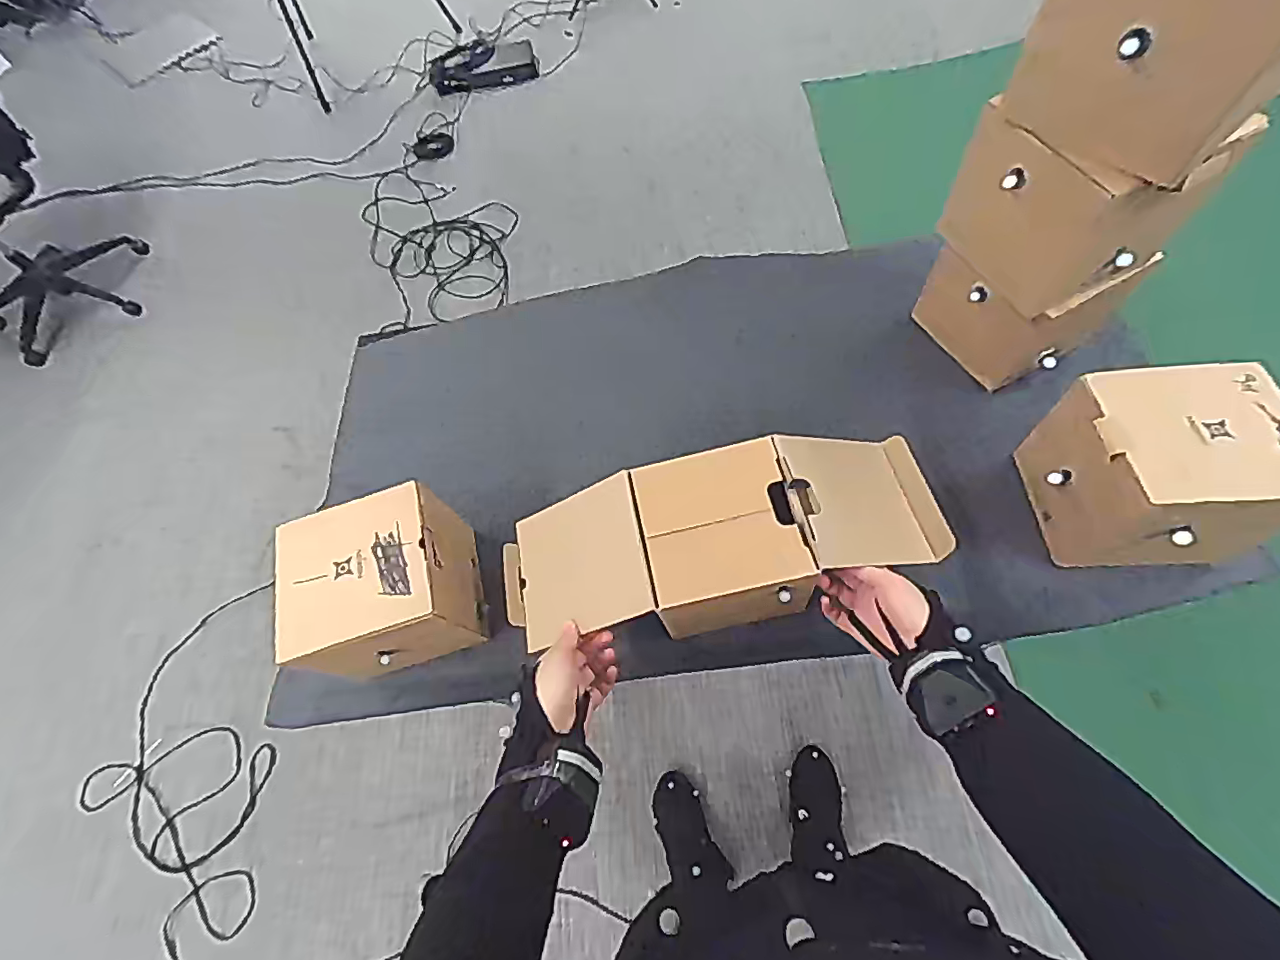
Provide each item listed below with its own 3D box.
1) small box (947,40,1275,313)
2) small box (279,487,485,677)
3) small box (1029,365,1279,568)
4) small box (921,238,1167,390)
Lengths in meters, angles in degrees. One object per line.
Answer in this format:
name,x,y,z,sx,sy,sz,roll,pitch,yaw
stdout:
small box,0.480,-0.322,0.593,0.168,0.176,0.179,-25,64,0
small box,-0.306,0.134,0.670,0.179,0.176,0.168,-18,64,0
small box,0.577,-0.006,0.606,0.179,0.176,0.168,-3,60,8
small box,0.525,-0.257,0.739,0.168,0.176,0.179,-29,66,-3
